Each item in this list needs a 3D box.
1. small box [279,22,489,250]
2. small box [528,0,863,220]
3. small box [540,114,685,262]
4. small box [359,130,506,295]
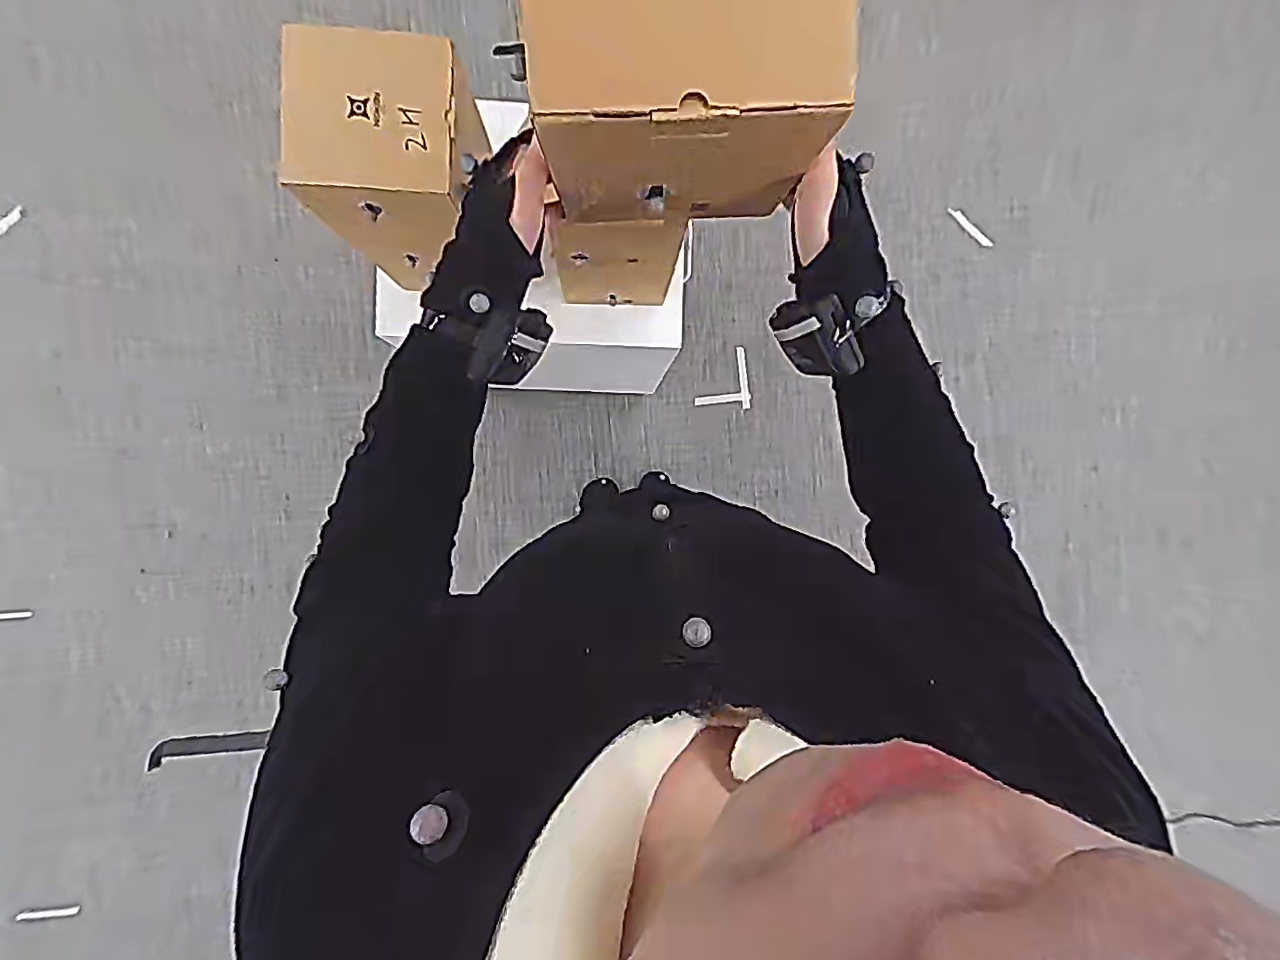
[{"bbox_3d":[-0.288,-0.388,0.641,0.179,0.176,0.168,2,92,-4],"label":"small box"},{"bbox_3d":[0.022,-0.279,0.334,0.168,0.176,0.179,-3,101,-2],"label":"small box"},{"bbox_3d":[-0.028,-0.381,0.659,0.168,0.176,0.179,0,91,-3],"label":"small box"},{"bbox_3d":[-0.298,-0.395,0.806,0.168,0.176,0.179,2,90,-3],"label":"small box"}]
